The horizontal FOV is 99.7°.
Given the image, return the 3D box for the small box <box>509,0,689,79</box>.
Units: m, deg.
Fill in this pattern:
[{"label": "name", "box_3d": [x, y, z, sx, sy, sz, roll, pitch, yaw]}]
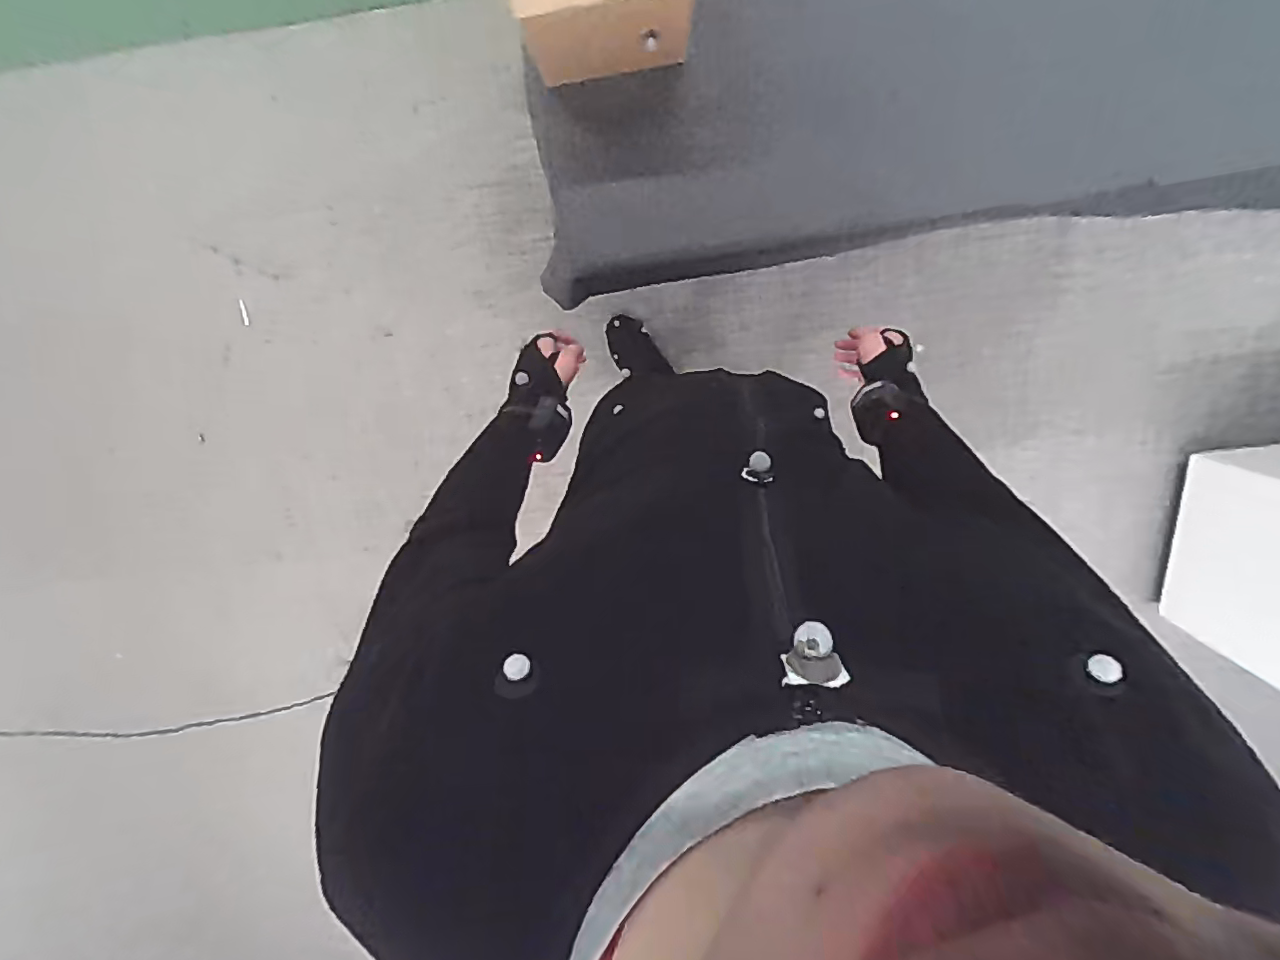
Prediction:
[{"label": "small box", "box_3d": [-0.045, -0.543, 0.546, 0.179, 0.176, 0.168, -8, 106, 3]}]
